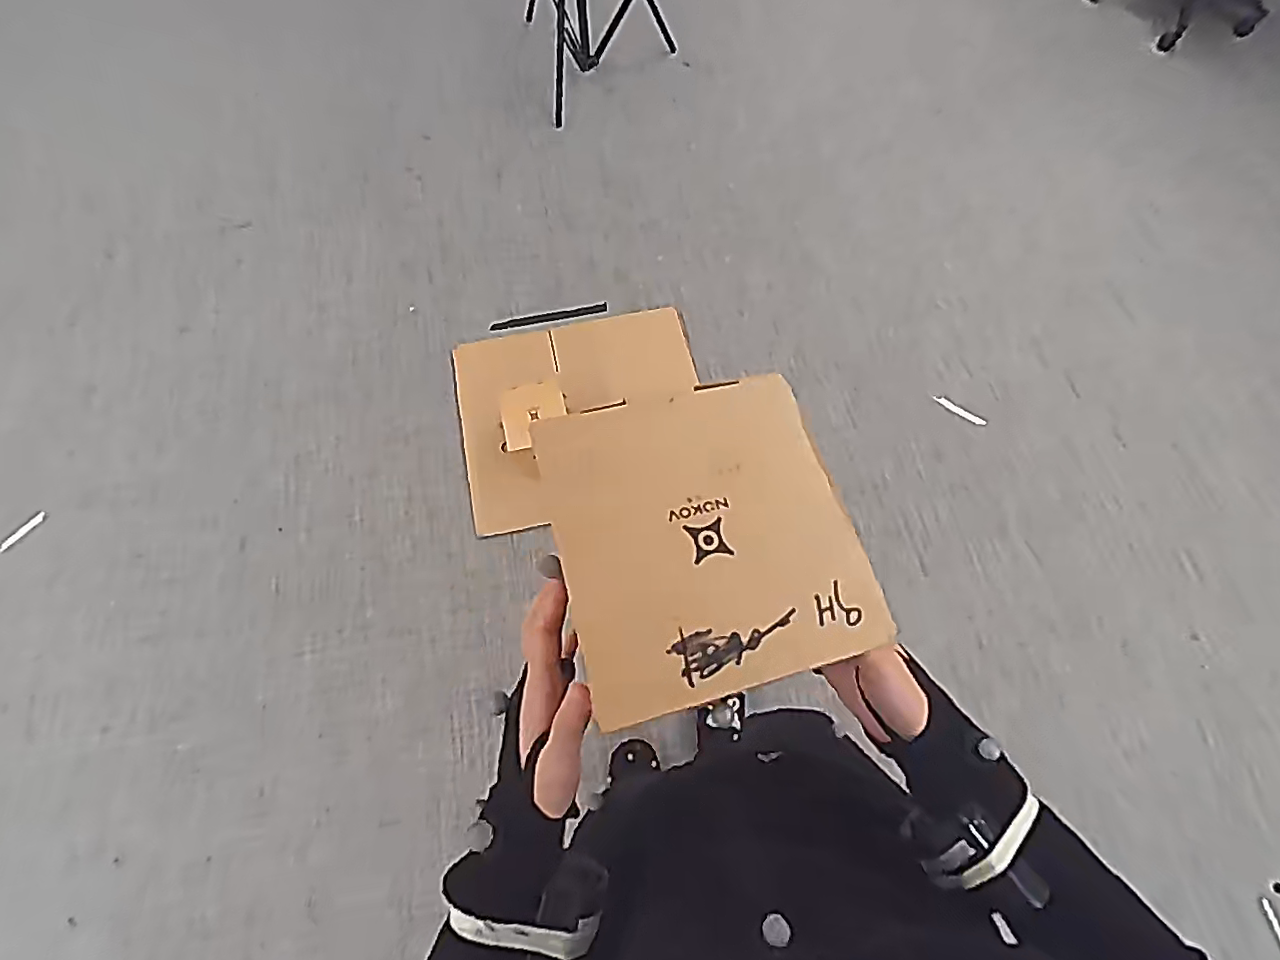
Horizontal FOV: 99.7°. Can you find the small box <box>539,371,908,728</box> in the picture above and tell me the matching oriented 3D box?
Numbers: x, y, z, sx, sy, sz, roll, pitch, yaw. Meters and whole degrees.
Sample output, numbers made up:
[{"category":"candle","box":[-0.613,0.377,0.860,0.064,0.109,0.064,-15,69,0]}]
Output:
[{"category":"small box","box":[0.034,0.056,0.371,0.168,0.176,0.179,-14,69,-9]}]

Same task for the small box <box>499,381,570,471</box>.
[{"category":"small box","box":[-0.266,-0.137,1.450,0.168,0.176,0.179,-14,71,-5]}]
